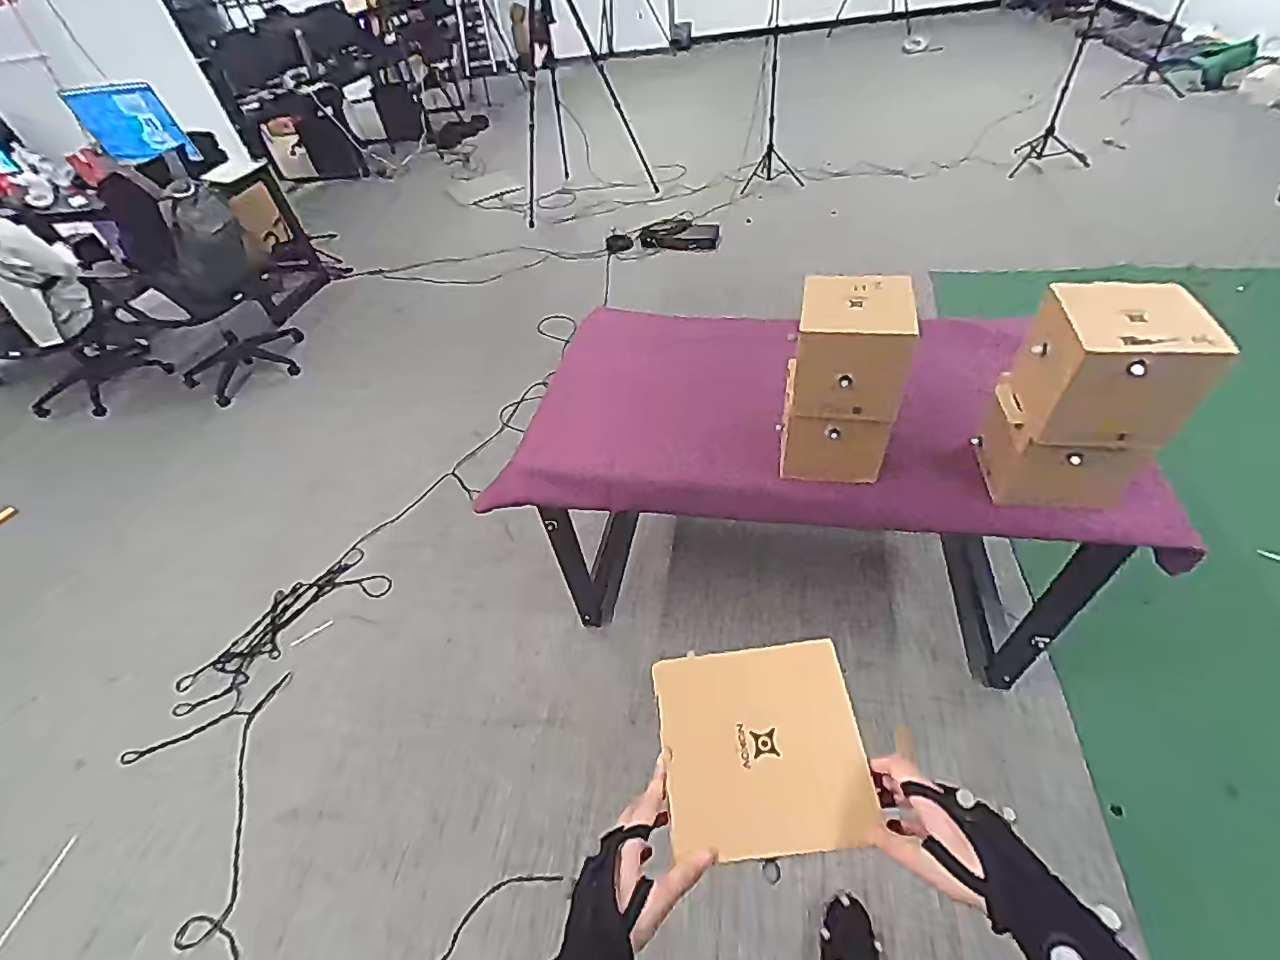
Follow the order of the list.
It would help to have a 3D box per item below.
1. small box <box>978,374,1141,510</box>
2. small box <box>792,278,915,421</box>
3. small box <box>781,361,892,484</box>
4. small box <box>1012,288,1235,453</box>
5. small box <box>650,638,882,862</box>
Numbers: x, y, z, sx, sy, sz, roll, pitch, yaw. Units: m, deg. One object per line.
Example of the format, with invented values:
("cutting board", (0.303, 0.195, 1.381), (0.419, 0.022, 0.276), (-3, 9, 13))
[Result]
("small box", (0.705, -0.064, 0.922), (0.179, 0.176, 0.168), (3, 48, 12))
("small box", (0.349, -0.216, 0.901), (0.168, 0.176, 0.179), (7, 48, 15))
("small box", (0.363, -0.108, 1.024), (0.179, 0.176, 0.168), (5, 48, 13))
("small box", (0.679, -0.163, 0.793), (0.168, 0.176, 0.179), (4, 47, 14))
("small box", (0.113, 0.274, 0.546), (0.179, 0.176, 0.168), (-10, 56, 4))
